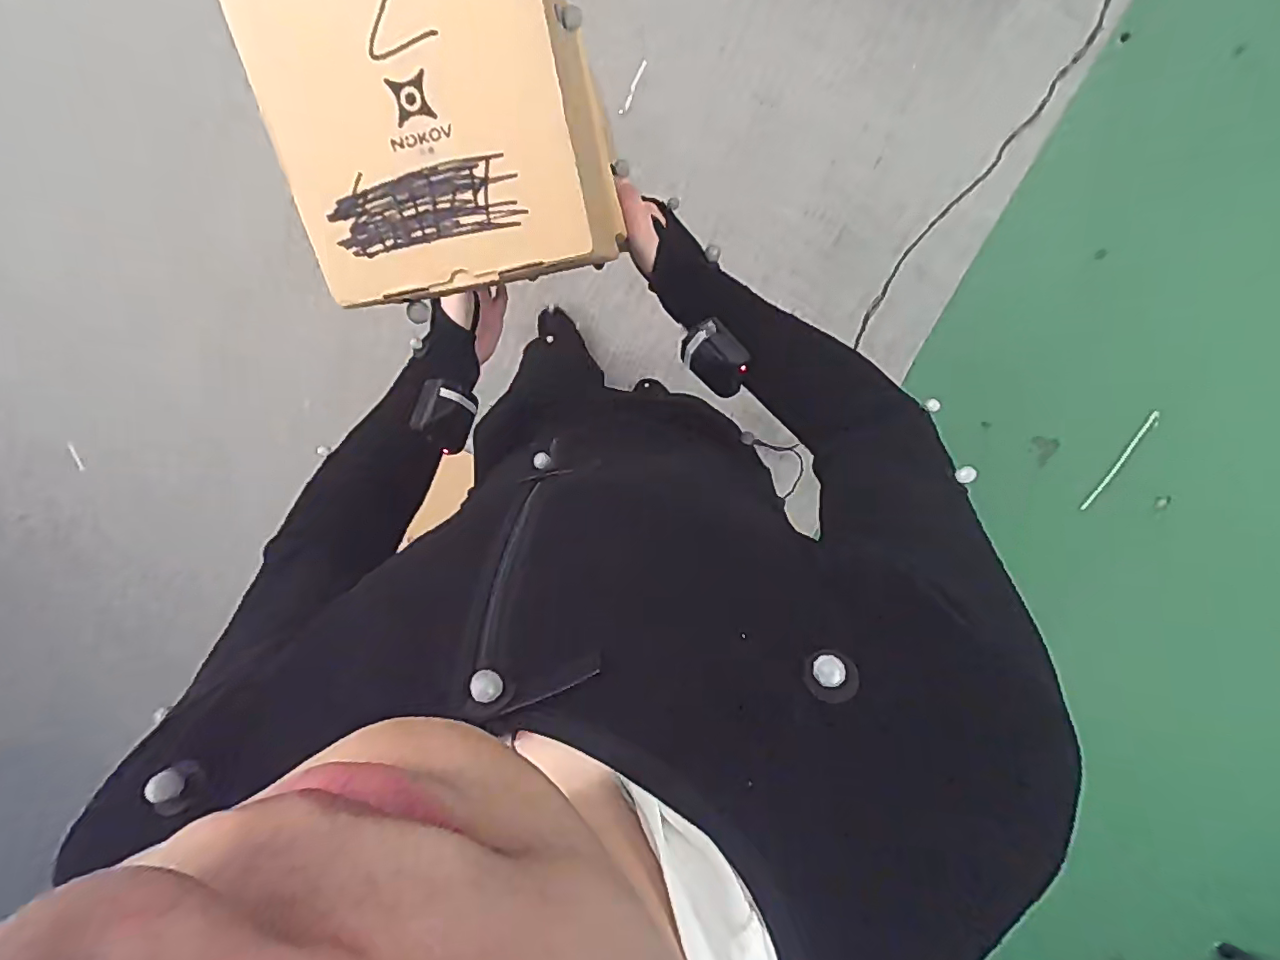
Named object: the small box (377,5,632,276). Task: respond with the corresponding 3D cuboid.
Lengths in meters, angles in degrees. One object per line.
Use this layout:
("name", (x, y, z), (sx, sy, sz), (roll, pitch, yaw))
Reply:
("small box", (-0.106, -0.301, 0.518), (0.179, 0.176, 0.168), (-10, 111, 7))
